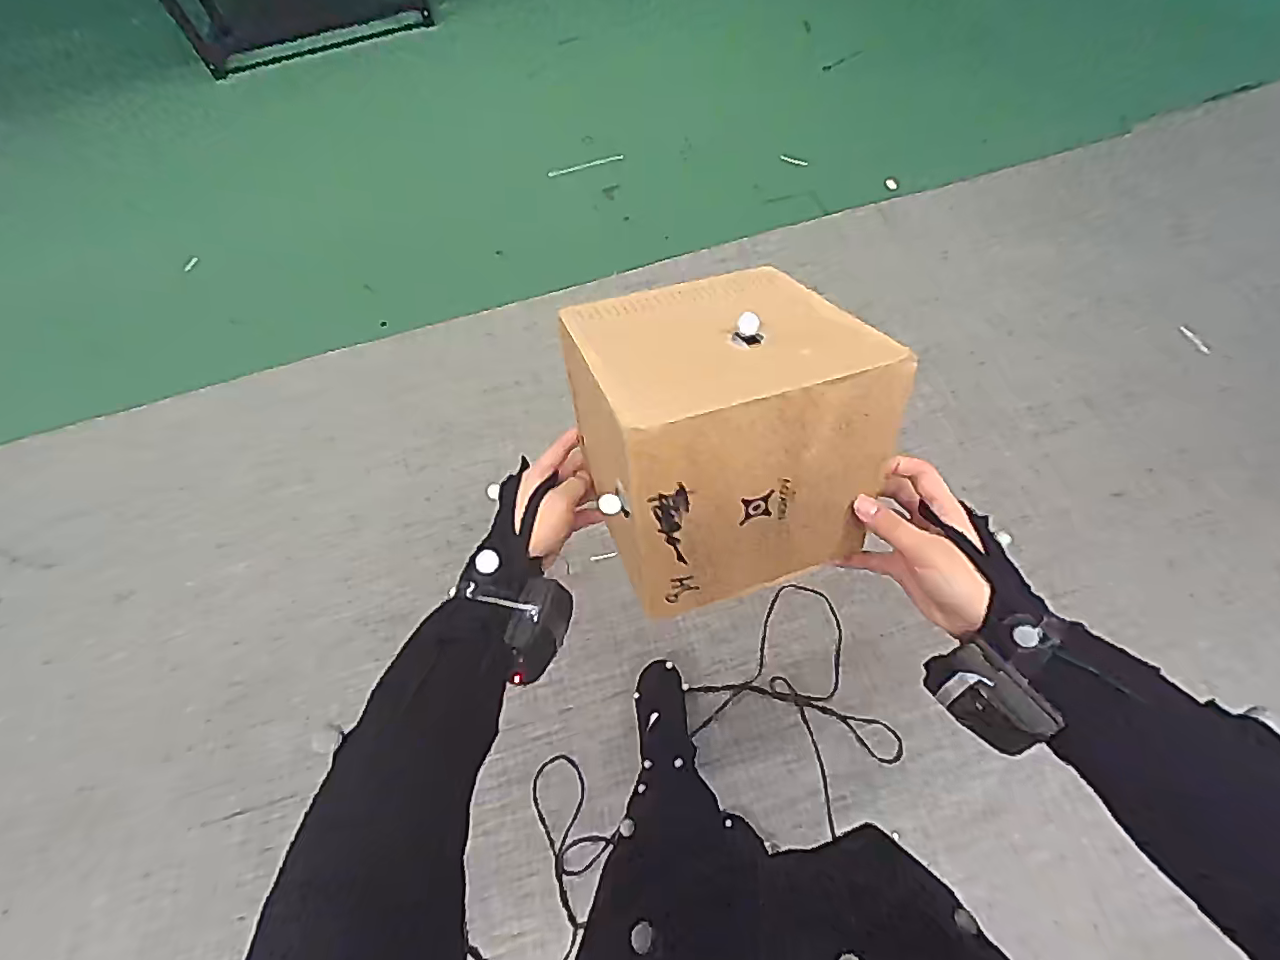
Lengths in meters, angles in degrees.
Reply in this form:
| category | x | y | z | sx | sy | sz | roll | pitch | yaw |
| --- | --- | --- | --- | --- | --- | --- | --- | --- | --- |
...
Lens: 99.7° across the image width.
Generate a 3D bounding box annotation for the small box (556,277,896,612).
| category | x | y | z | sx | sy | sz | roll | pitch | yaw |
| --- | --- | --- | --- | --- | --- | --- | --- | --- | --- |
| small box | 0.049 | -0.037 | 0.409 | 0.179 | 0.168 | 0.176 | -15 | 41 | -11 |
